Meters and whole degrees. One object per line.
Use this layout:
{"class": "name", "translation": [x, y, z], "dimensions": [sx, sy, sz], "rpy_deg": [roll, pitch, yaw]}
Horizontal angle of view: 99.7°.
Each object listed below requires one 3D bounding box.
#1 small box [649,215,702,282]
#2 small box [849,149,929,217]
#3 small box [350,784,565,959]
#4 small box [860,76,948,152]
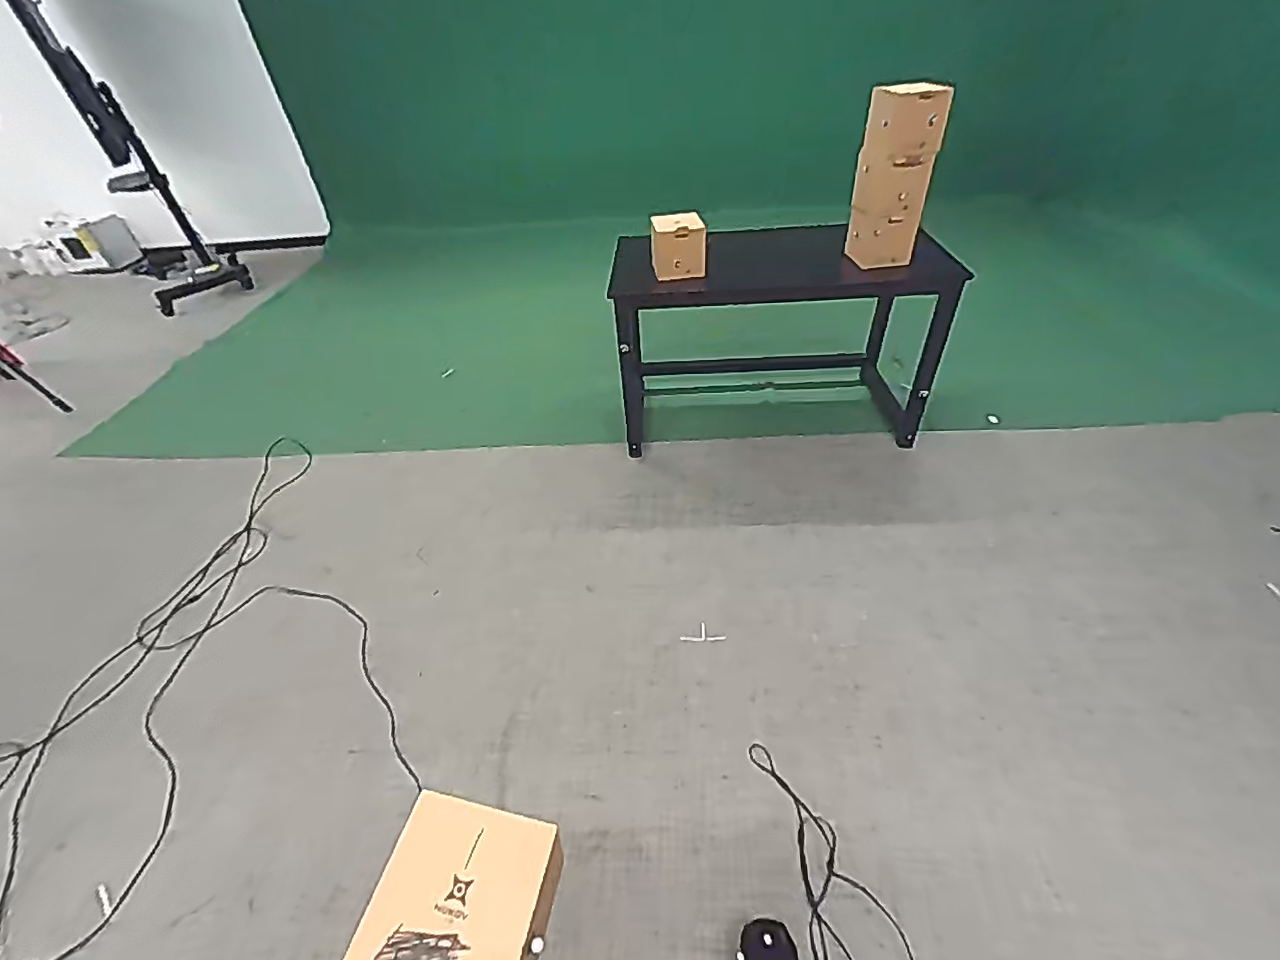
{"class": "small box", "translation": [0.123, -0.822, 1.919], "dimensions": [0.168, 0.176, 0.179], "rpy_deg": [-7, 42, -3]}
{"class": "small box", "translation": [0.802, -0.973, 1.761], "dimensions": [0.168, 0.176, 0.179], "rpy_deg": [-8, 41, -1]}
{"class": "small box", "translation": [-0.186, 0.483, 0.613], "dimensions": [0.168, 0.176, 0.179], "rpy_deg": [11, 44, 6]}
{"class": "small box", "translation": [0.794, -1.108, 1.644], "dimensions": [0.168, 0.176, 0.179], "rpy_deg": [-7, 40, -2]}
